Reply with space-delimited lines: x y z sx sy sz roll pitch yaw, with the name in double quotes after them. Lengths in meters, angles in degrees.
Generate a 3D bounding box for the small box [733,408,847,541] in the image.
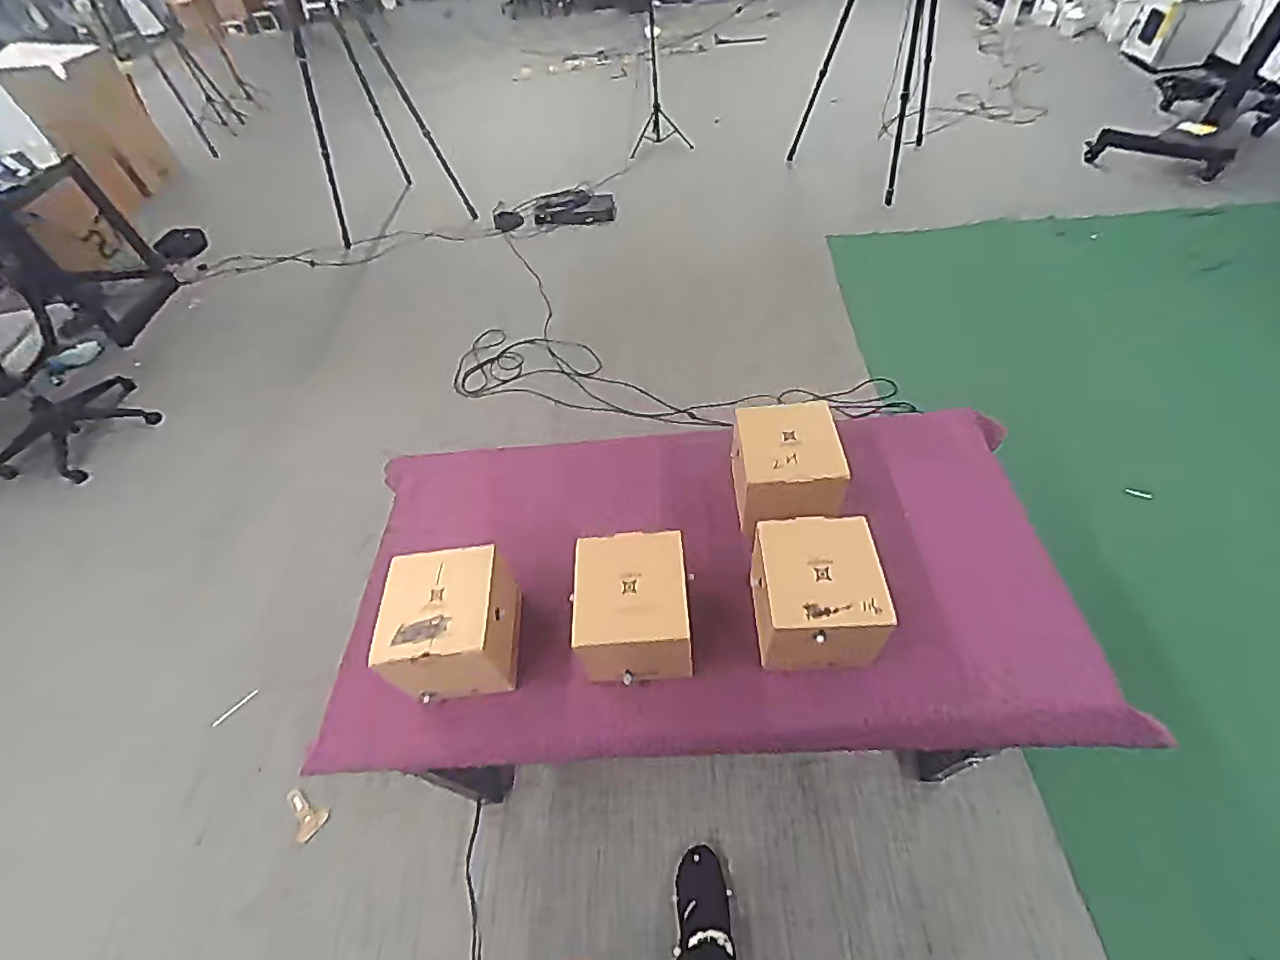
0.261 -0.008 0.988 0.168 0.176 0.179 -4 53 5 "small box"

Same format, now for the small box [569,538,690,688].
-0.010 0.213 0.855 0.168 0.176 0.179 -5 52 5 "small box"

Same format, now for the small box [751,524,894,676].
0.265 0.187 0.836 0.168 0.176 0.179 -4 51 6 "small box"

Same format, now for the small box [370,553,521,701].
-0.295 0.242 0.867 0.168 0.176 0.179 -7 50 2 "small box"
